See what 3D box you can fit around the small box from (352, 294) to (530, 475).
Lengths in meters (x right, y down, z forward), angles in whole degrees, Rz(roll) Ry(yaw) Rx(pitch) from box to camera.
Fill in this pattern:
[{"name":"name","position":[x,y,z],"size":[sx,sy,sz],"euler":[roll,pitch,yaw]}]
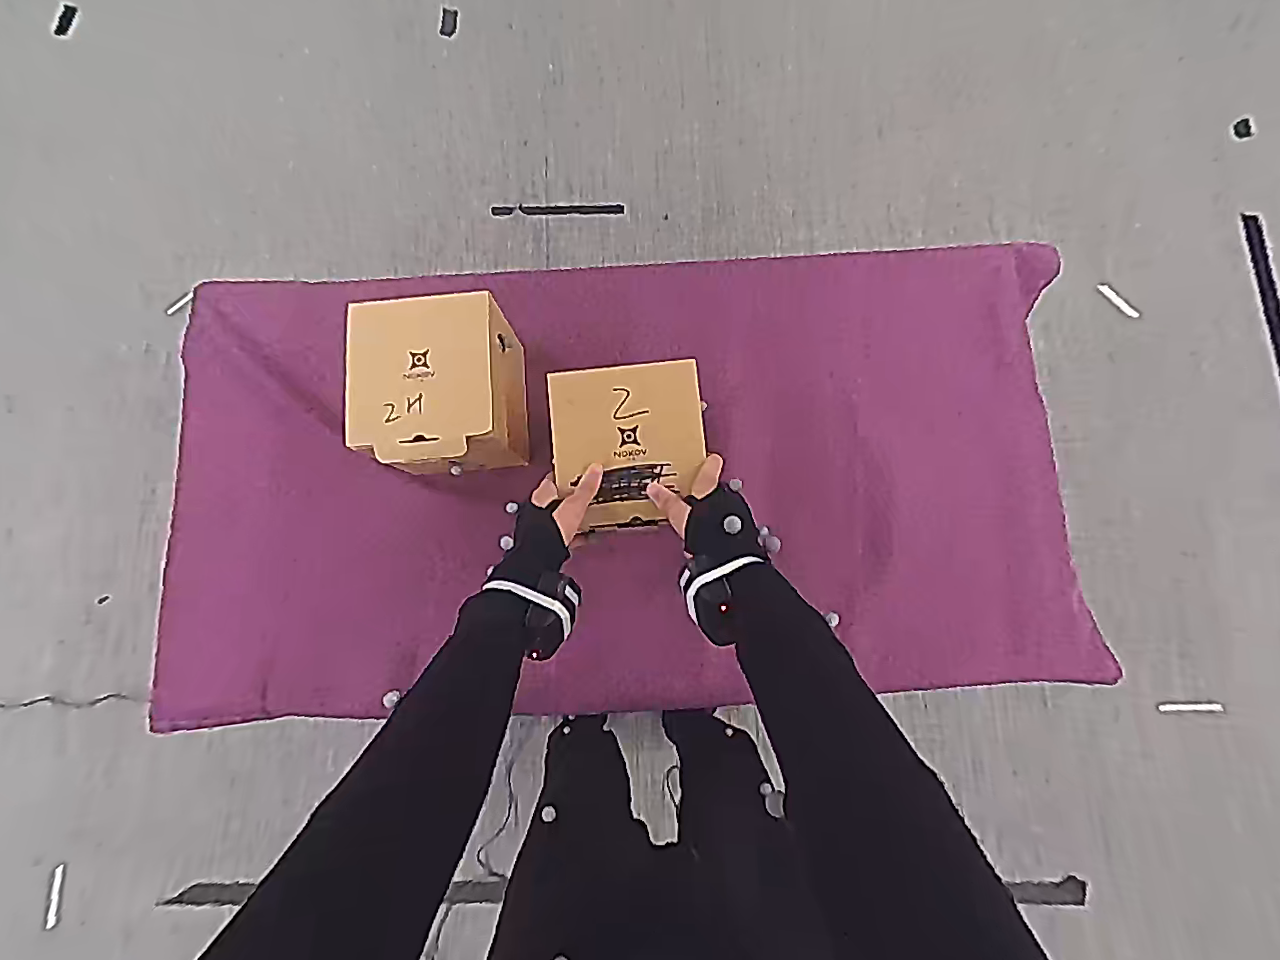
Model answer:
[{"name":"small box","position":[-0.240,-0.111,0.689],"size":[0.168,0.176,0.179],"euler":[-5,80,1]}]
